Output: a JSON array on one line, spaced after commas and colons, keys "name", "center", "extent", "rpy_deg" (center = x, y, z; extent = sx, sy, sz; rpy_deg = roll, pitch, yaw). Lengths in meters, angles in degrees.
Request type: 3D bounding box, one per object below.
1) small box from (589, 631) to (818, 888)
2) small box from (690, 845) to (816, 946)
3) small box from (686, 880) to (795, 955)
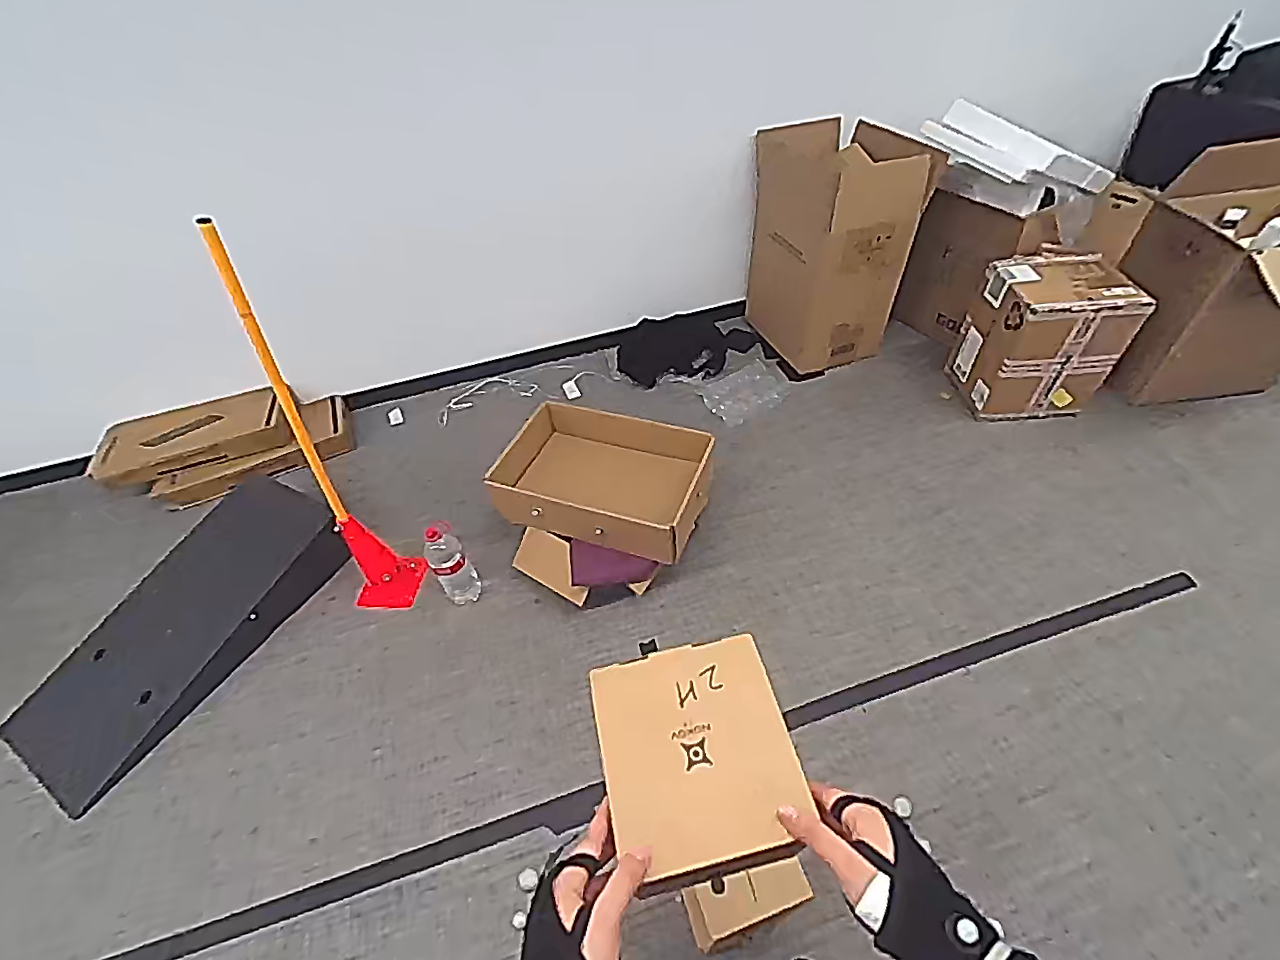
[{"name": "small box", "center": [0.054, 0.281, 0.536], "extent": [0.168, 0.176, 0.179], "rpy_deg": [-13, 49, -5]}, {"name": "small box", "center": [0.163, 0.632, 0.895], "extent": [0.168, 0.176, 0.179], "rpy_deg": [-16, 47, -9]}, {"name": "small box", "center": [0.173, 0.747, 1.013], "extent": [0.168, 0.176, 0.179], "rpy_deg": [-17, 46, -9]}]
